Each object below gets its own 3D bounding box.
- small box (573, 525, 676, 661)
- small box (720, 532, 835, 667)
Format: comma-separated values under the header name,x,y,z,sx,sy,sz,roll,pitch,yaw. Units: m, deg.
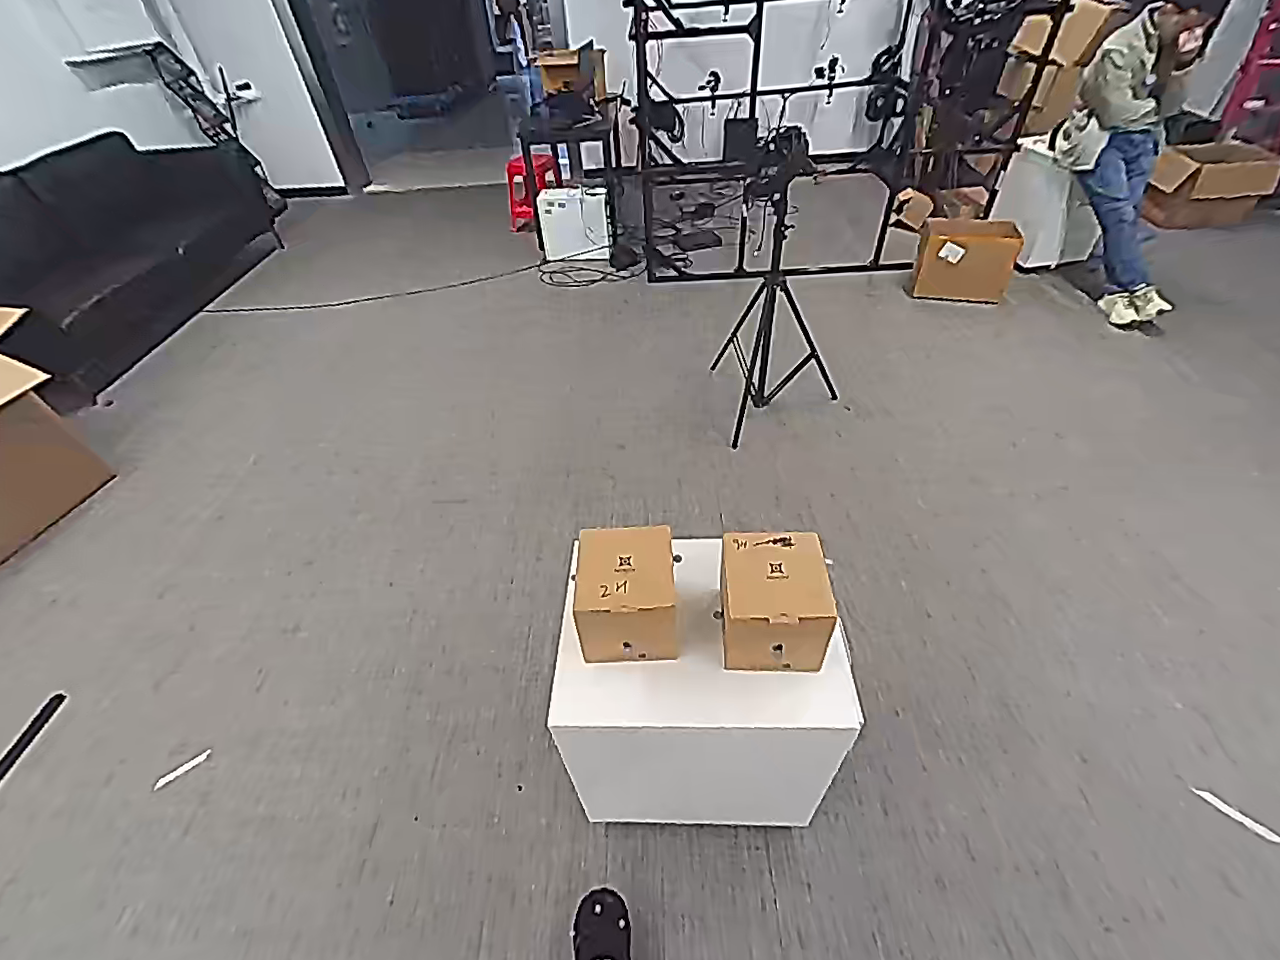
name,x,y,z,sx,sy,sz,roll,pitch,yaw
small box,-0.022,0.202,0.967,0.168,0.176,0.179,-3,44,2
small box,0.226,0.208,0.939,0.168,0.176,0.179,0,45,5
